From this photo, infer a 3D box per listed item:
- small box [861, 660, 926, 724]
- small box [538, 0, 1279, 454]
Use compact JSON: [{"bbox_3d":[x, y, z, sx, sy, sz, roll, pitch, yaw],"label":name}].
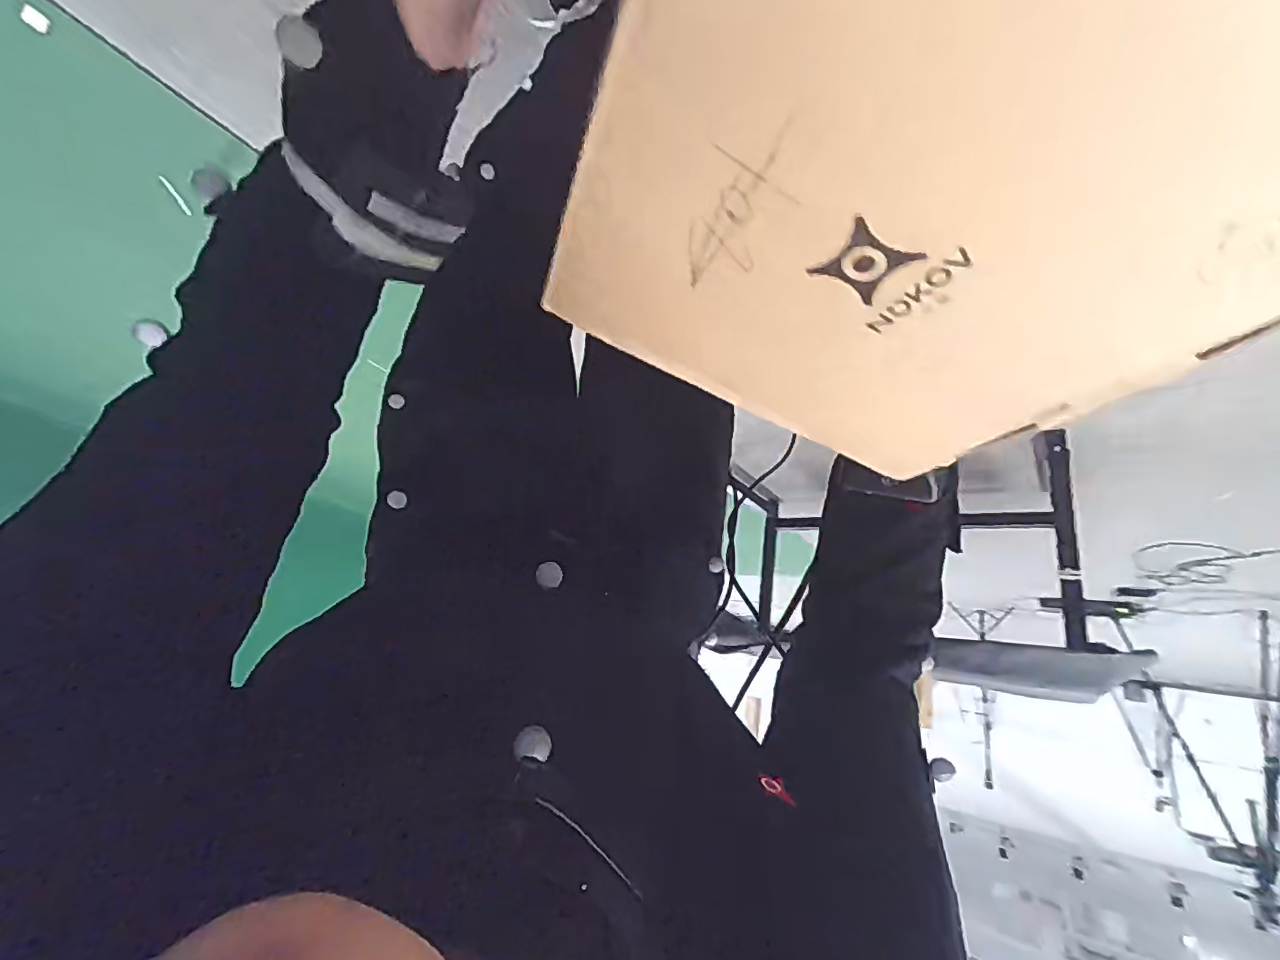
[{"bbox_3d":[0.840,0.698,1.784,0.168,0.176,0.179,-5,157,36],"label":"small box"},{"bbox_3d":[0.086,-0.140,0.190,0.179,0.176,0.168,24,154,-9],"label":"small box"}]
